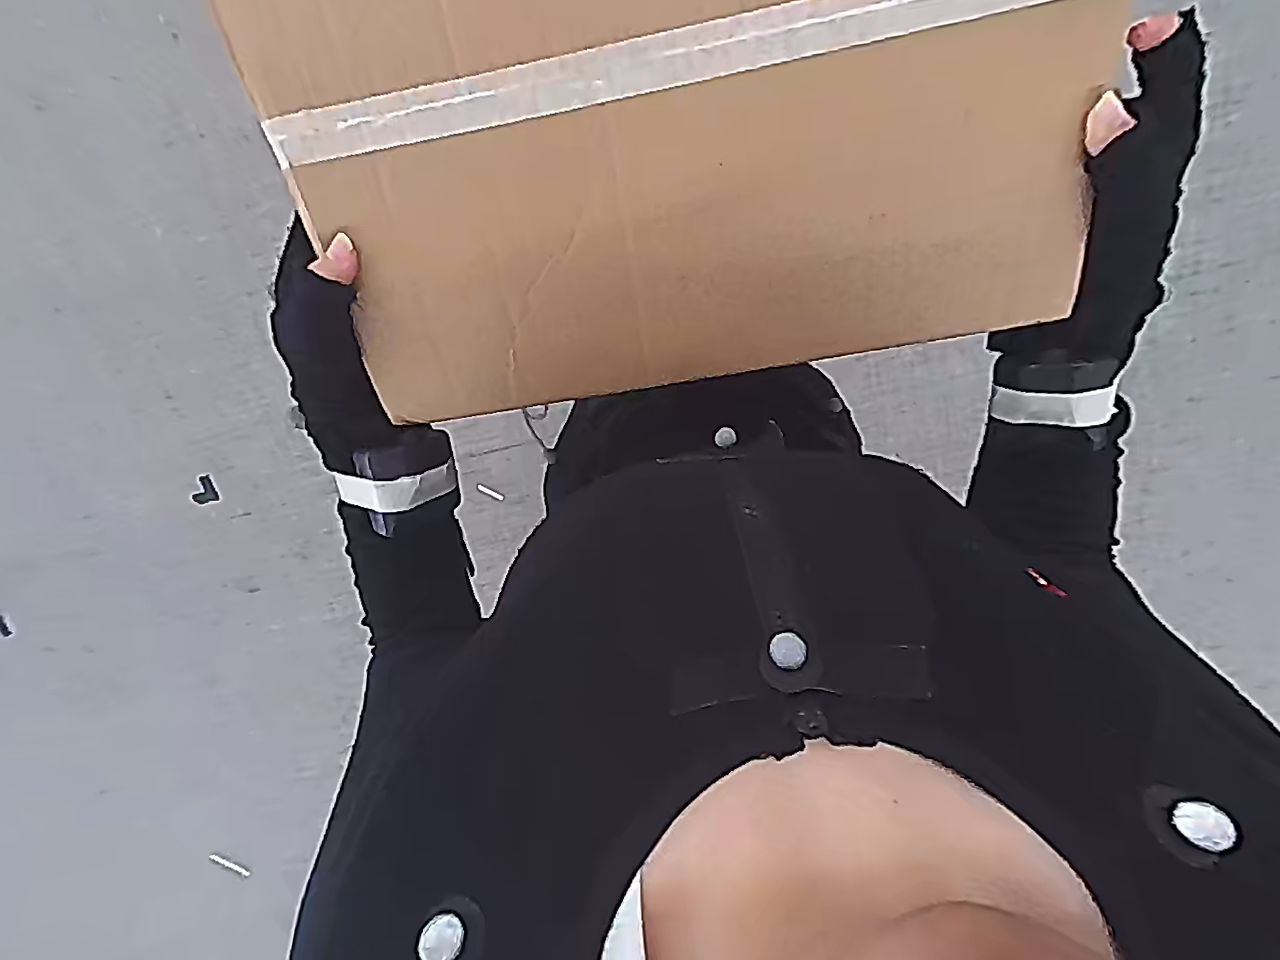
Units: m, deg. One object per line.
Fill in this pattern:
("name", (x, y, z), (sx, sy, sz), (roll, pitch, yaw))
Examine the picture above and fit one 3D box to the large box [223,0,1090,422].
("large box", (0.015, -0.273, 0.392), (0.408, 0.320, 0.320), (-9, 118, 5))
